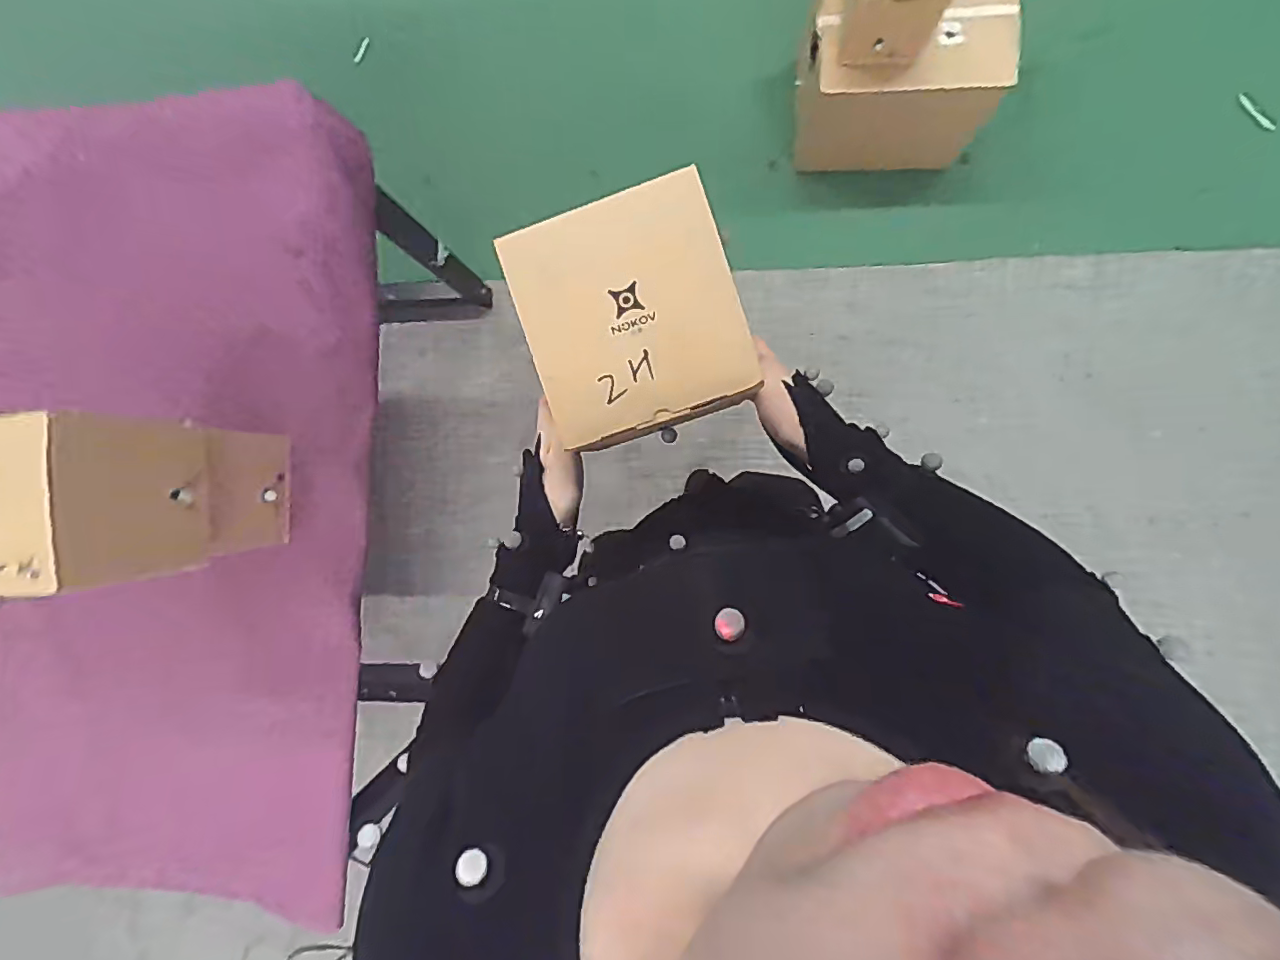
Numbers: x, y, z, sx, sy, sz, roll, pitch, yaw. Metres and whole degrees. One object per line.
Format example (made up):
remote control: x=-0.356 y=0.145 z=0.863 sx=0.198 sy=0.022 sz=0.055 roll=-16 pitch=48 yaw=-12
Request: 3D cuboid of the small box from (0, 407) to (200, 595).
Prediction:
small box: x=-0.623 y=0.023 z=0.585 sx=0.168 sy=0.176 sz=0.179 roll=-2 pitch=90 yaw=5

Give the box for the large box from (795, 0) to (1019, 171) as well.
large box: x=0.601 y=-0.978 z=1.289 sx=0.408 sy=0.320 sz=0.320 roll=1 pitch=91 yaw=5

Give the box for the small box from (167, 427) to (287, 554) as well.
small box: x=-0.634 y=0.015 z=0.750 sx=0.179 sy=0.176 sz=0.168 roll=1 pitch=91 yaw=5

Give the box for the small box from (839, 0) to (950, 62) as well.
small box: x=0.497 y=-0.967 z=1.055 sx=0.168 sy=0.176 sz=0.179 roll=3 pitch=91 yaw=5
